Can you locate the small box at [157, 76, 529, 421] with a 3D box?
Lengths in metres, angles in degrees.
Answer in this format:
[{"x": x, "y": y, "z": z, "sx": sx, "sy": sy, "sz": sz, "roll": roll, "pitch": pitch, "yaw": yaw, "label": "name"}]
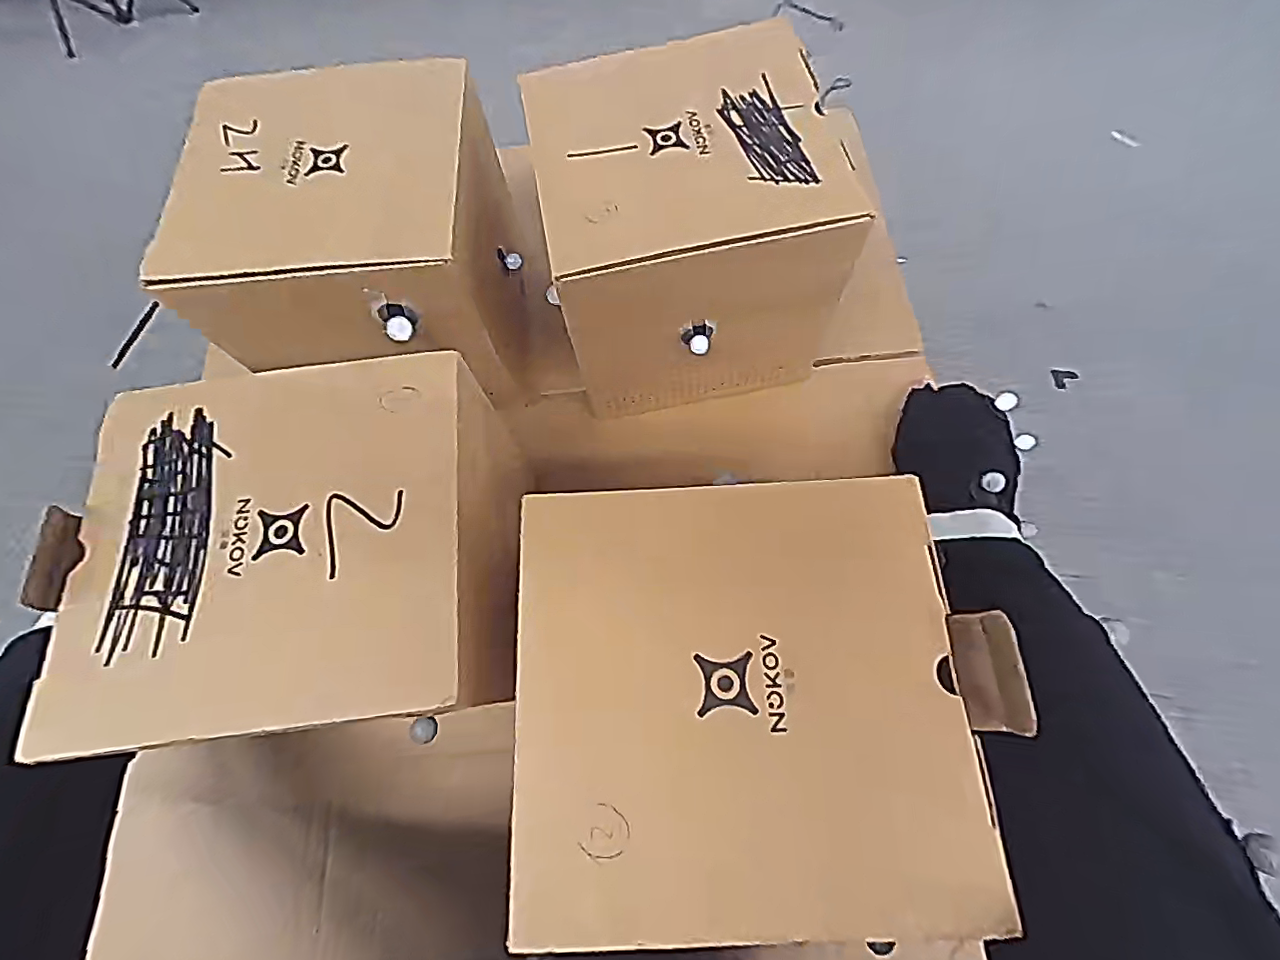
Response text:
[{"x": -0.187, "y": -0.156, "z": 0.407, "sx": 0.179, "sy": 0.176, "sz": 0.168, "roll": -4, "pitch": 69, "yaw": 3, "label": "small box"}]
